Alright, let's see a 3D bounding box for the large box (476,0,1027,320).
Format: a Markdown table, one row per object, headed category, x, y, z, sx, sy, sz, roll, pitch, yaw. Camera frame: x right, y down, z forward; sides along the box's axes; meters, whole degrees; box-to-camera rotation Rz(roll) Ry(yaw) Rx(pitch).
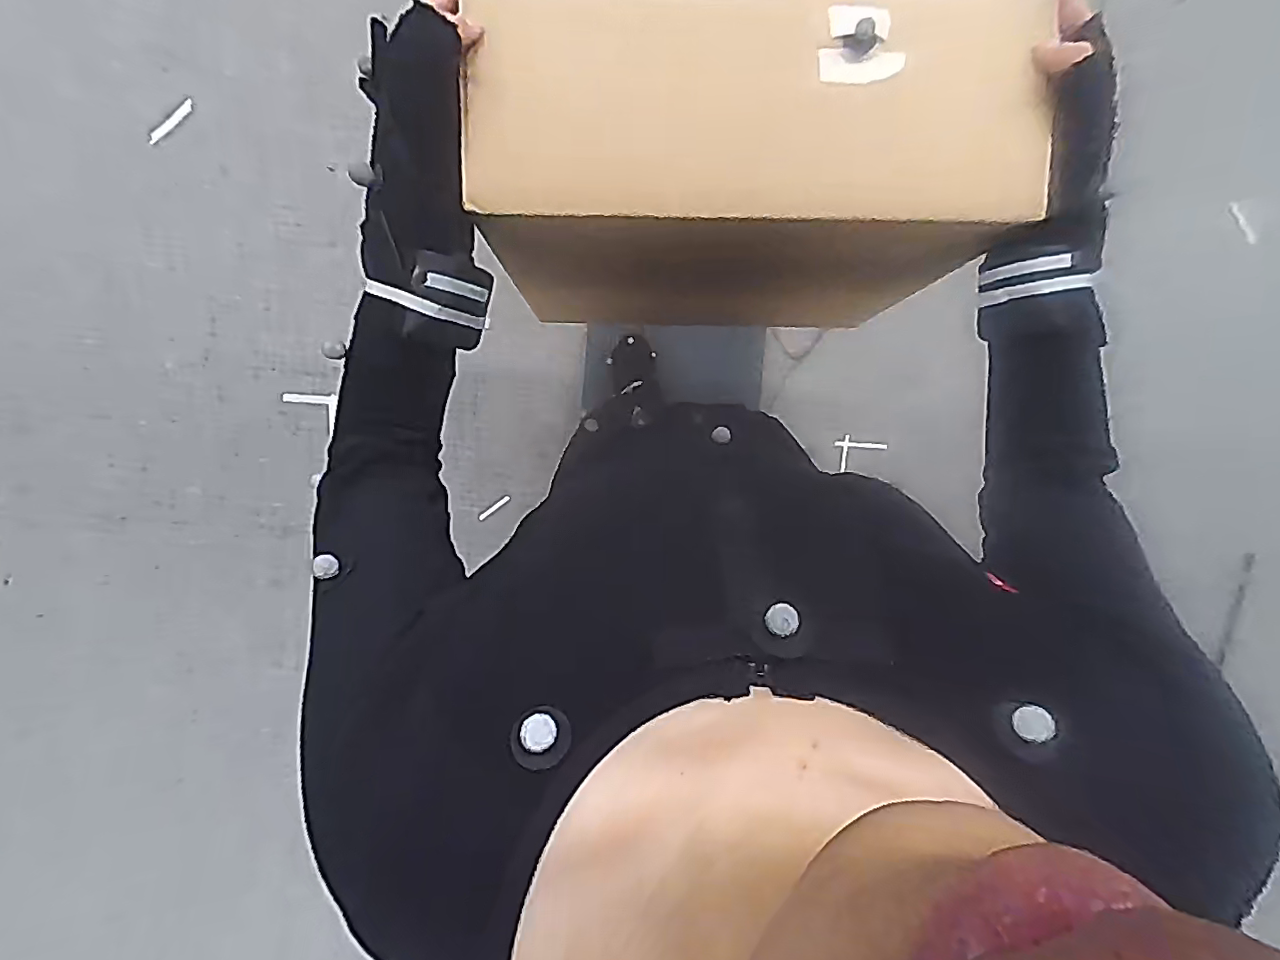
| category | x | y | z | sx | sy | sz | roll | pitch | yaw |
| --- | --- | --- | --- | --- | --- | --- | --- | --- | --- |
| large box | 0.076 | -0.354 | 0.535 | 0.408 | 0.320 | 0.320 | 0 | 92 | -2 |
